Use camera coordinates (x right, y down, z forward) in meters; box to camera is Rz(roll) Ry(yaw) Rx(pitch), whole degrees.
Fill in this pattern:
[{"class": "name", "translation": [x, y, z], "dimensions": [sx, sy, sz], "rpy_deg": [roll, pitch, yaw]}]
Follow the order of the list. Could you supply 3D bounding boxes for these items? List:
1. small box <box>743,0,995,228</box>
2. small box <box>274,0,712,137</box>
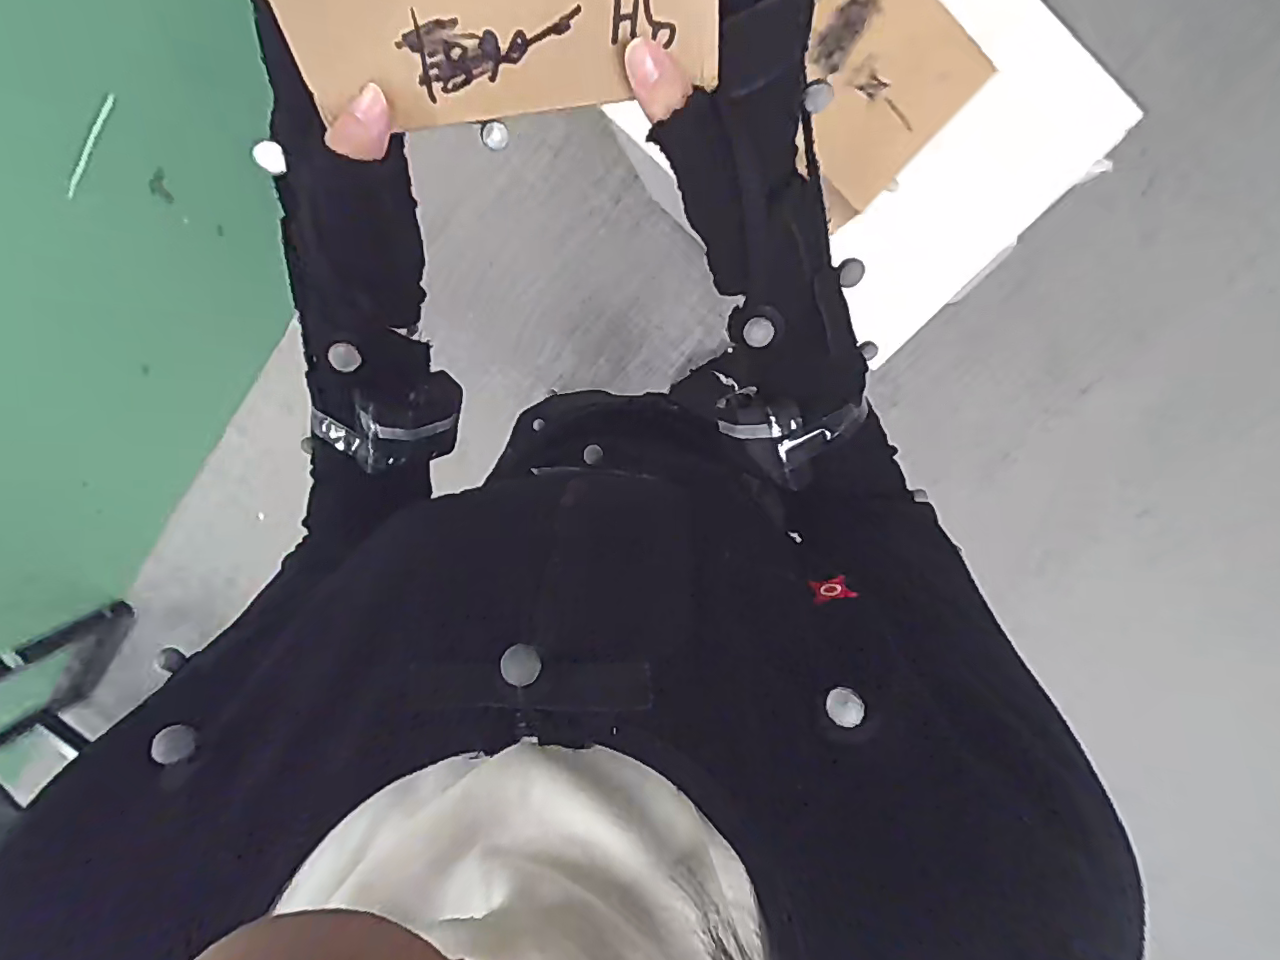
[{"class": "small box", "translation": [0.229, -0.409, 0.598], "dimensions": [0.179, 0.176, 0.168], "rpy_deg": [44, 107, -6]}, {"class": "small box", "translation": [-0.066, -0.275, 0.230], "dimensions": [0.168, 0.176, 0.179], "rpy_deg": [-8, 132, 7]}]
